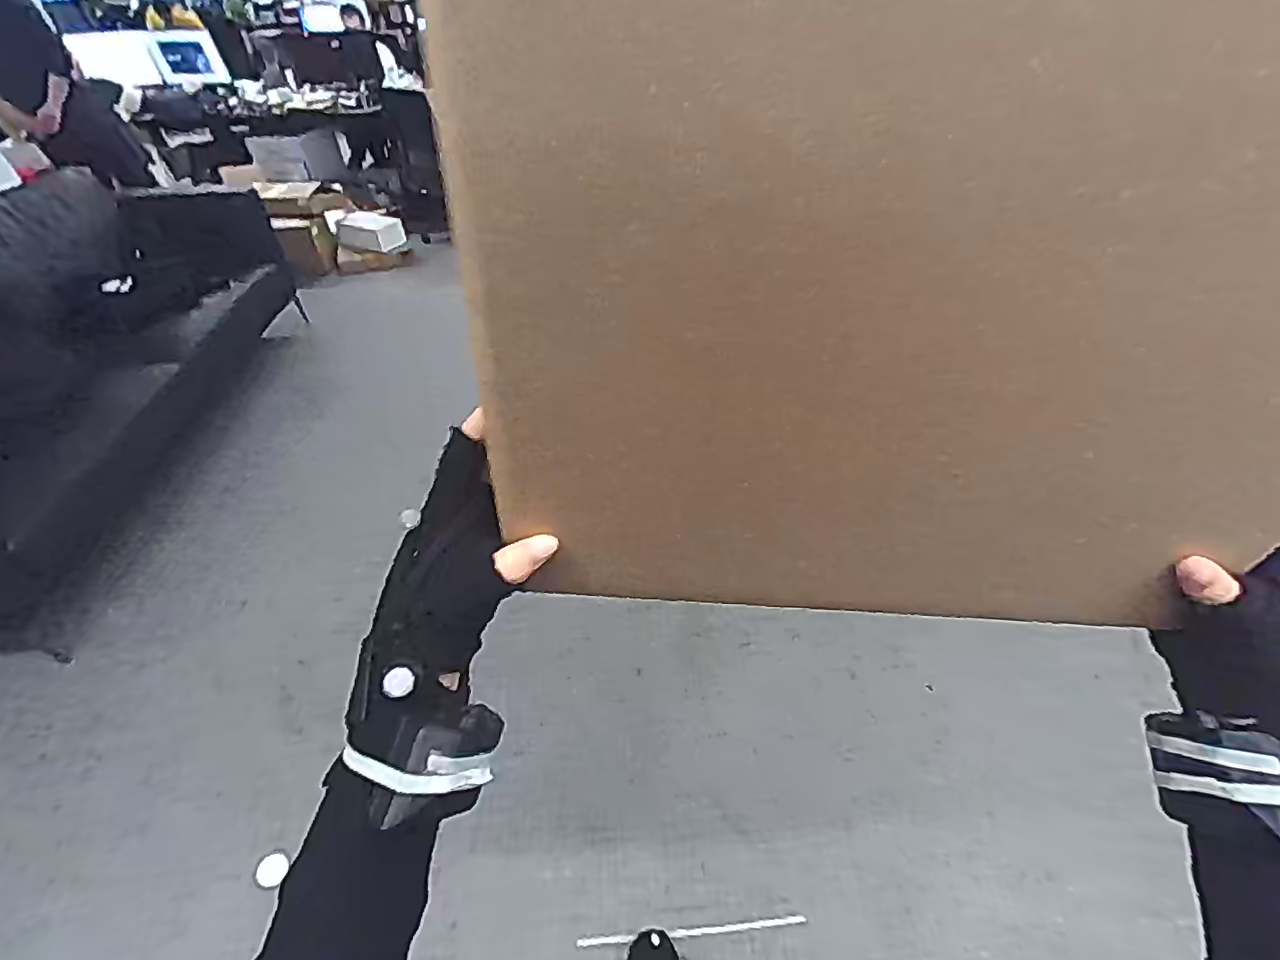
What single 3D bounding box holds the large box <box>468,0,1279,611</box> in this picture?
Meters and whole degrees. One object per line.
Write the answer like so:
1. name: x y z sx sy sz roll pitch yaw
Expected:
1. large box: 0.137 -0.135 0.344 0.408 0.320 0.320 4 41 -2
